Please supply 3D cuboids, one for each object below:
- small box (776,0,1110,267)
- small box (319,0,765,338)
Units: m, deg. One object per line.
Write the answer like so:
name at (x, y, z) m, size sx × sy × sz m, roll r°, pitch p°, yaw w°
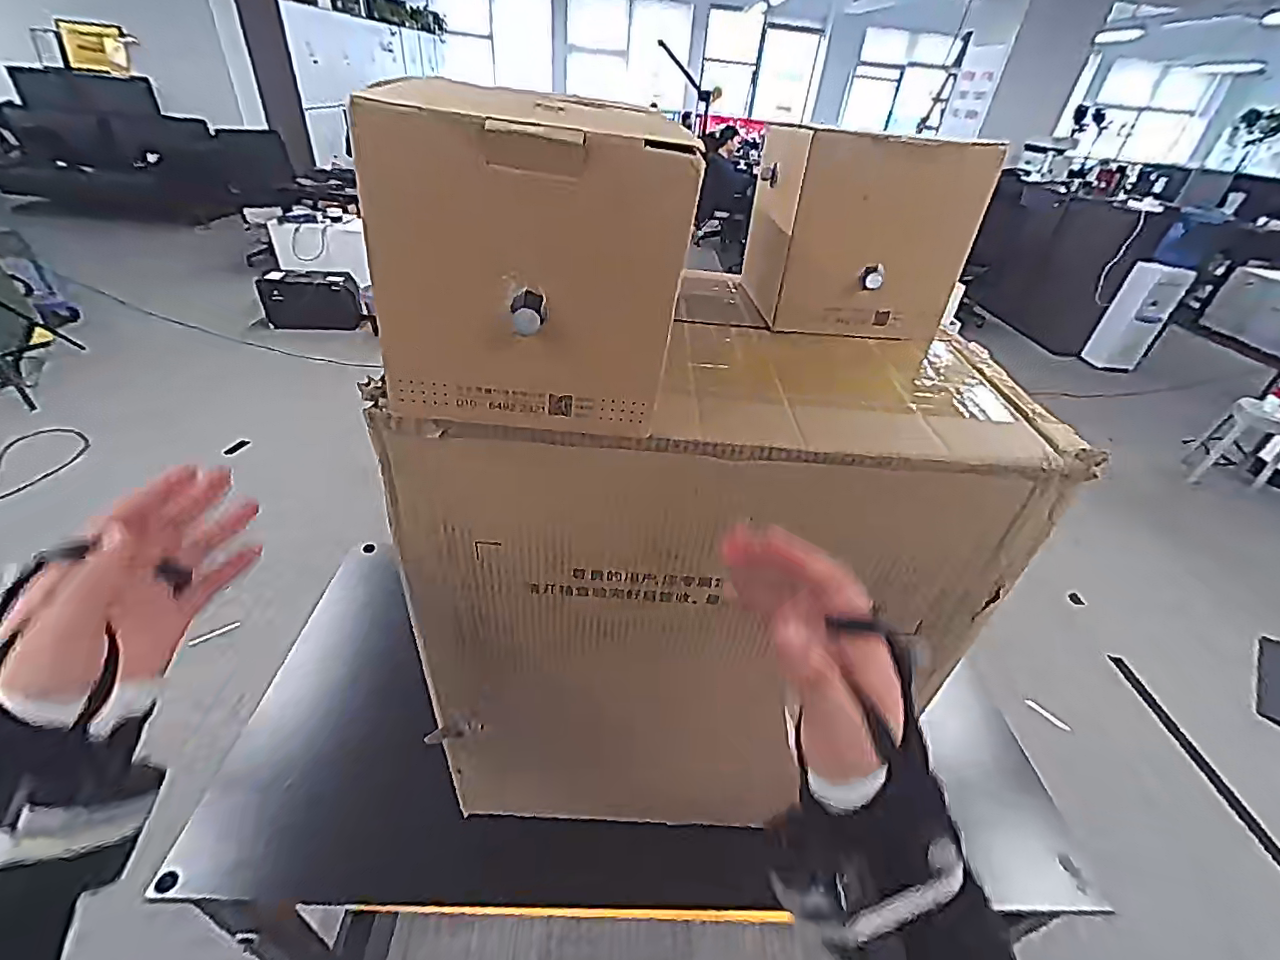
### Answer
small box at (0.231, -0.300, 0.475) m, size 0.168 × 0.176 × 0.179 m, roll 2°, pitch 35°, yaw -4°
small box at (-0.044, -0.190, 0.284) m, size 0.168 × 0.176 × 0.179 m, roll 4°, pitch 39°, yaw -9°
